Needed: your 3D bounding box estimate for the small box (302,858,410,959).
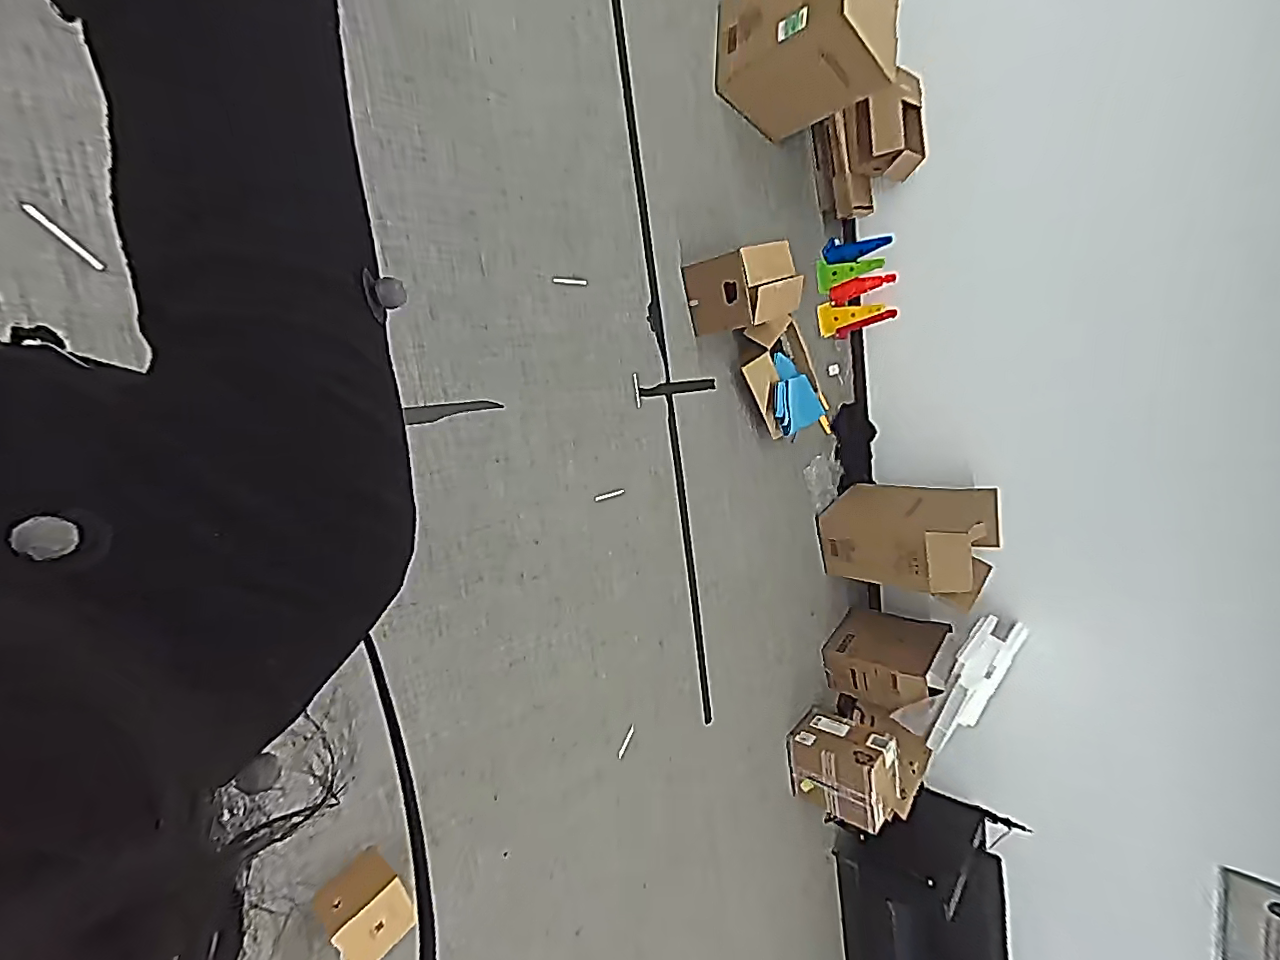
[{"bbox_3d":[-0.734,1.132,1.385,0.179,0.176,0.168,-32,115,-43],"label":"small box"}]
